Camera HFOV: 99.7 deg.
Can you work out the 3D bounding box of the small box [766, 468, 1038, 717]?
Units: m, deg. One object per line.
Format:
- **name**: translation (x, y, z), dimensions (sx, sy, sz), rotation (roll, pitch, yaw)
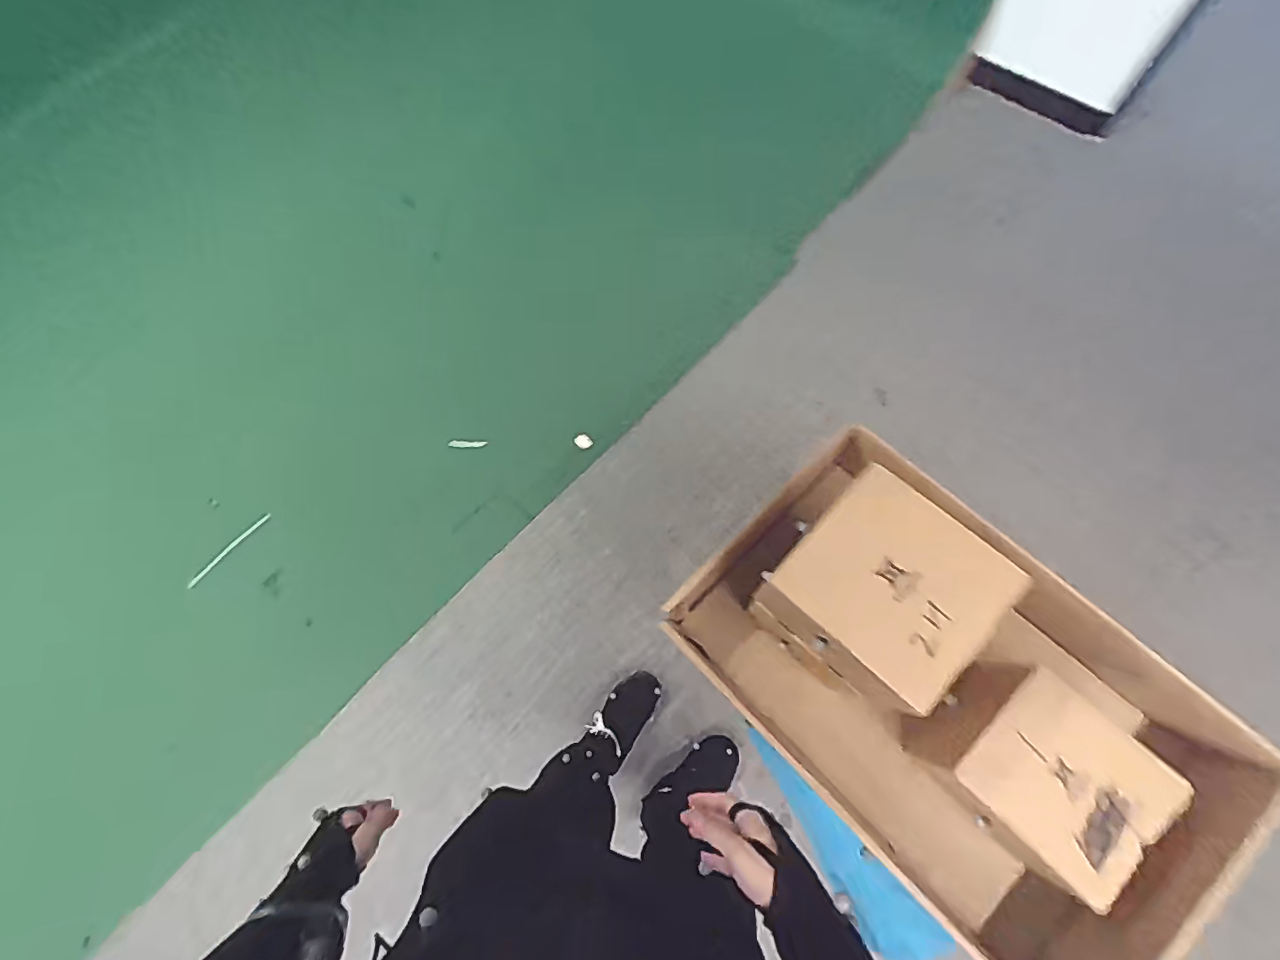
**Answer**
- **small box**: translation (0.255, 0.122, 0.579), dimensions (0.179, 0.176, 0.168), rotation (42, 82, 17)
